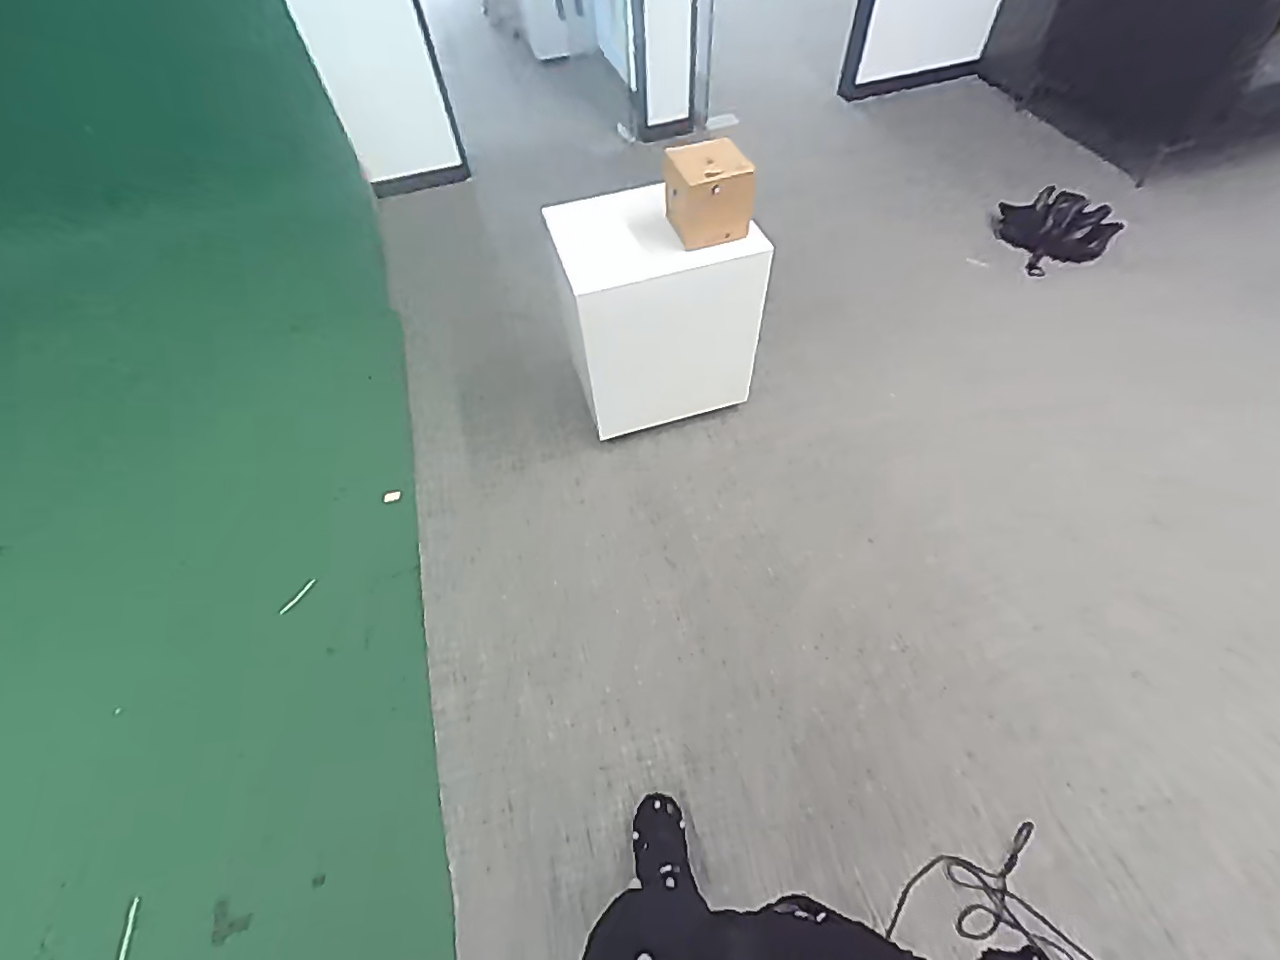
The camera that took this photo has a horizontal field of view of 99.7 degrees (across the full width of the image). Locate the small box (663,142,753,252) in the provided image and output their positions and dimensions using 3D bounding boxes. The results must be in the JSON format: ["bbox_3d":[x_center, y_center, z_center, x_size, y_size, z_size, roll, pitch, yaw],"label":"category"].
[{"bbox_3d":[0.161,-0.695,1.334,0.168,0.176,0.179,-17,56,-7],"label":"small box"}]
